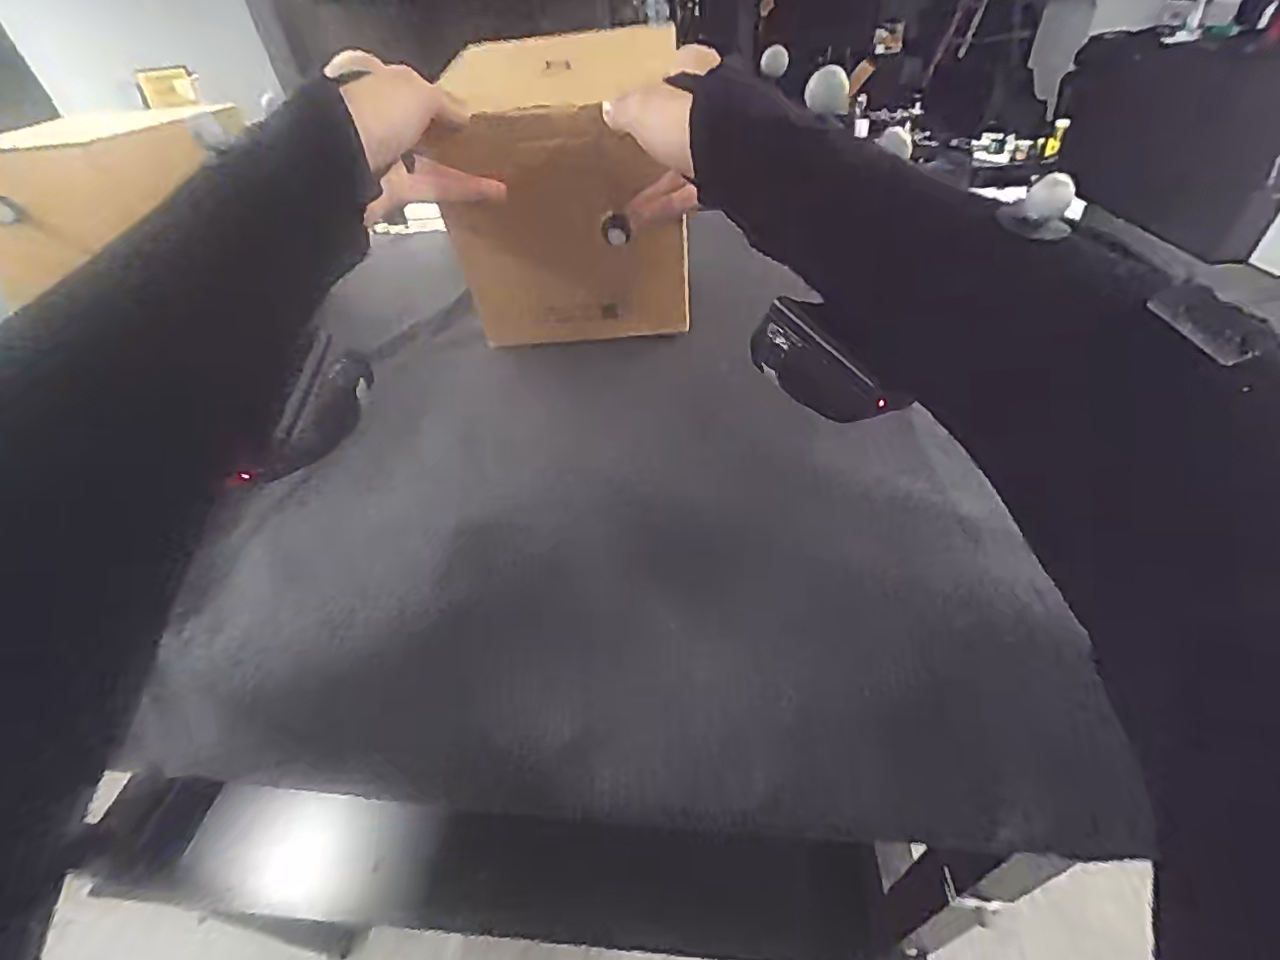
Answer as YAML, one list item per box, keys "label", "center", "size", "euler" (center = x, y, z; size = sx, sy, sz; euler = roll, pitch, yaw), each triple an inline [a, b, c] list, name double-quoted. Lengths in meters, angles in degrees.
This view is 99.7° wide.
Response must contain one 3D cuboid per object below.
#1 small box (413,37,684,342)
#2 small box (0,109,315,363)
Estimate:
- label: "small box"
  center: [-0.050, -0.225, 0.438]
  size: [0.168, 0.176, 0.179]
  euler: [-2, 49, 5]
- label: "small box"
  center: [-0.448, -0.220, 0.496]
  size: [0.179, 0.176, 0.168]
  euler: [0, 42, 8]
